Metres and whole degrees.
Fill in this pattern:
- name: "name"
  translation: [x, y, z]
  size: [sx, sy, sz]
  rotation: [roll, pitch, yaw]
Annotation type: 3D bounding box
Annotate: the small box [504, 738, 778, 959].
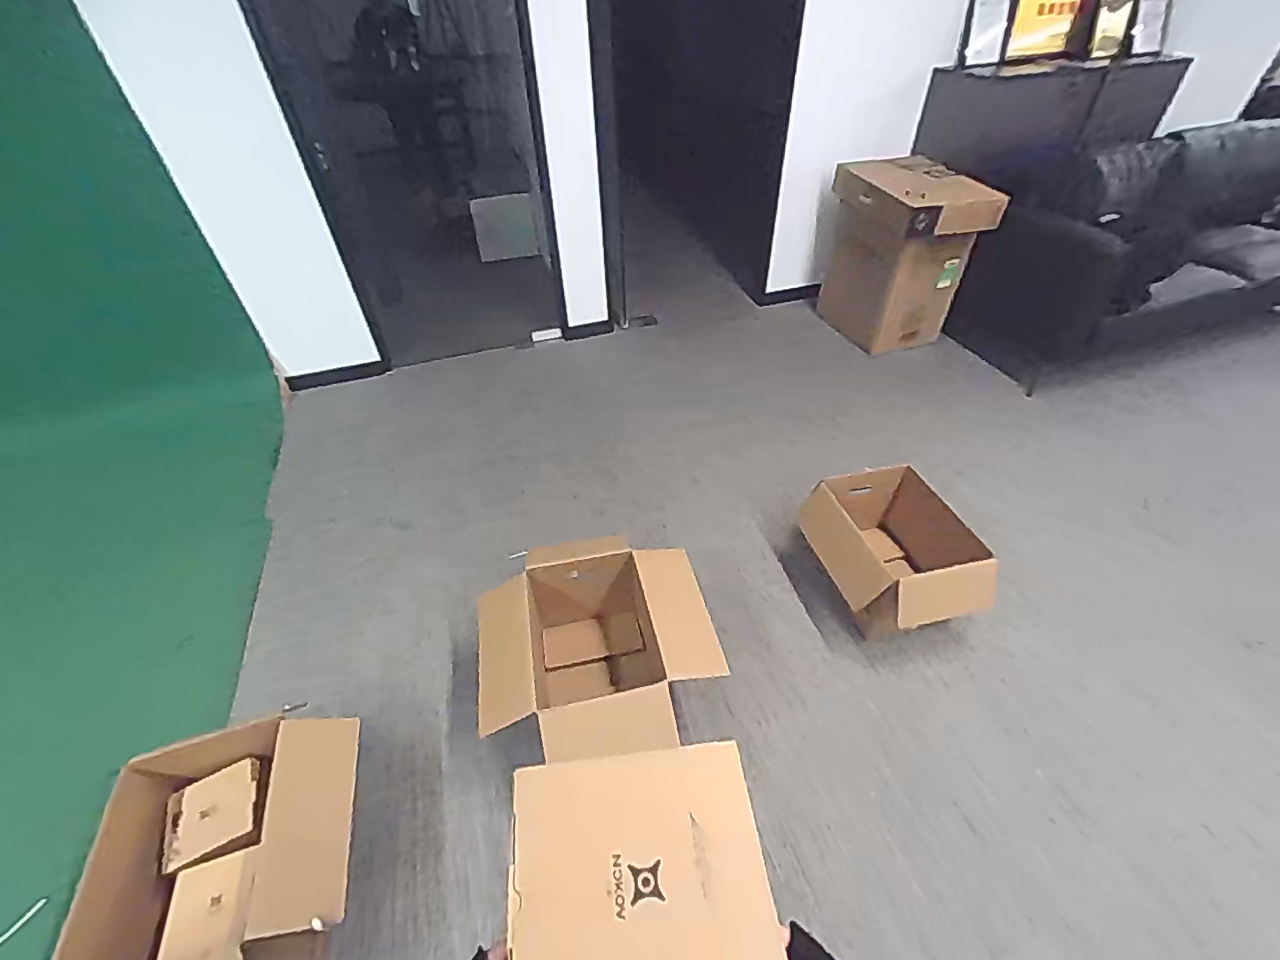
- name: "small box"
  translation: [-0.005, 0.327, 0.430]
  size: [0.179, 0.176, 0.168]
  rotation: [-5, 47, -6]
